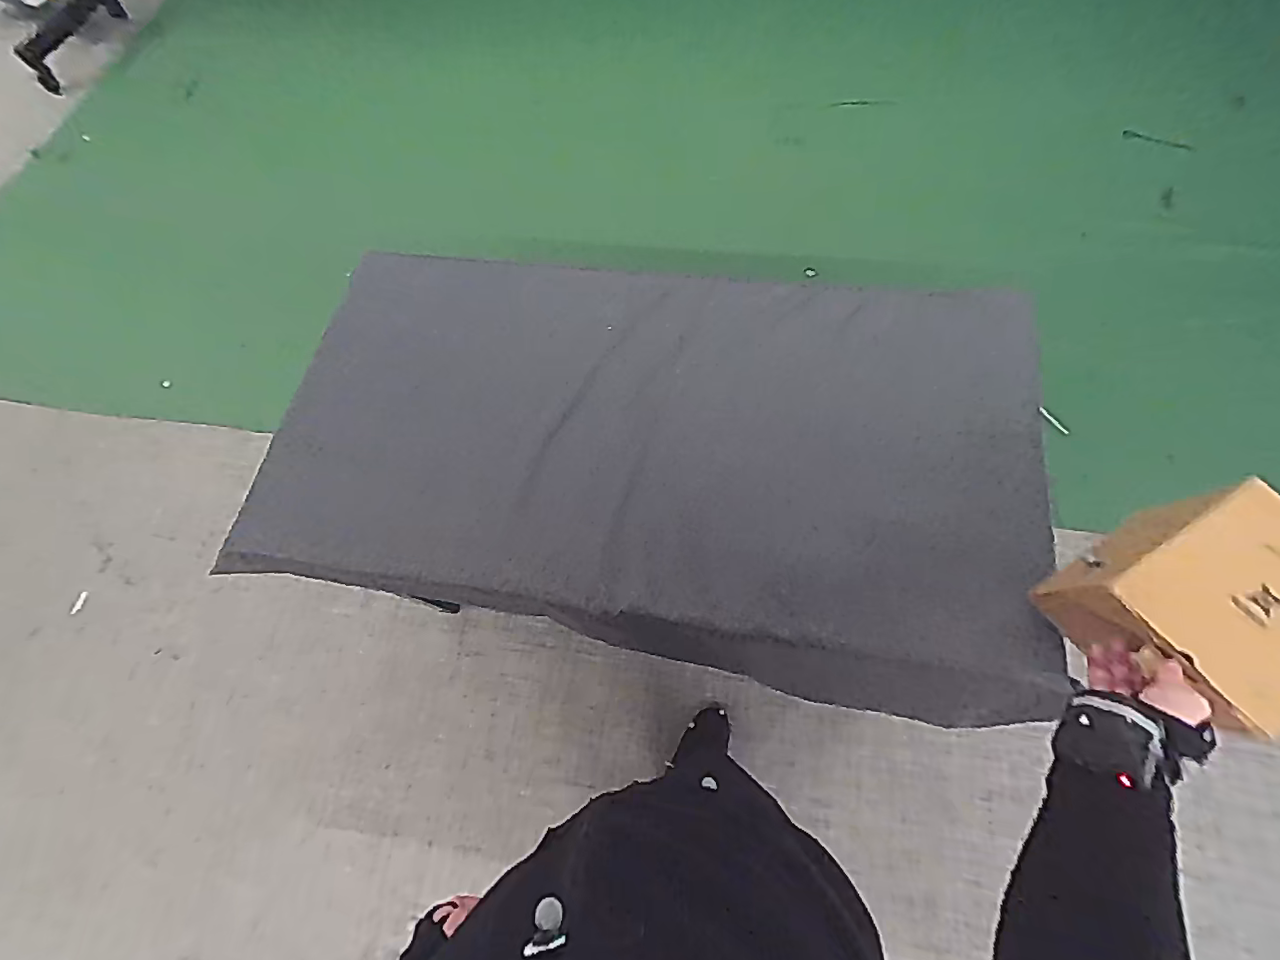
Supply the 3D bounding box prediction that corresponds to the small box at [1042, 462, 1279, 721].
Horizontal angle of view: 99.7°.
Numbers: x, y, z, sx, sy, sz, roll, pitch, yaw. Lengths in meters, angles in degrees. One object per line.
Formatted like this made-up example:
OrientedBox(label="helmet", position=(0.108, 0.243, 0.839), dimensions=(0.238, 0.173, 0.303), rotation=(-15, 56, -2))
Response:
OrientedBox(label="small box", position=(0.567, 0.115, 0.559), dimensions=(0.179, 0.176, 0.168), rotation=(-39, 71, 0))
